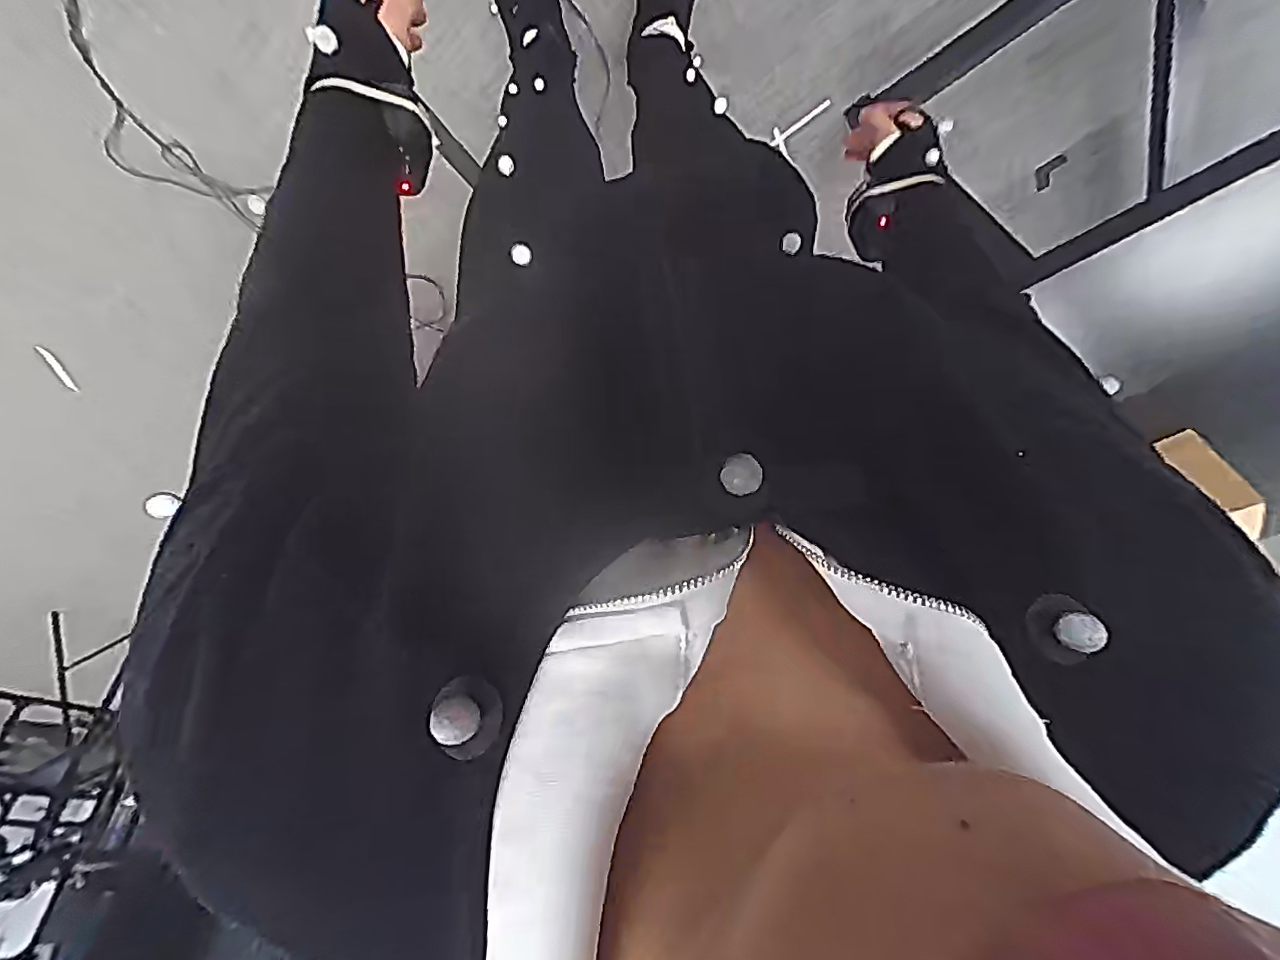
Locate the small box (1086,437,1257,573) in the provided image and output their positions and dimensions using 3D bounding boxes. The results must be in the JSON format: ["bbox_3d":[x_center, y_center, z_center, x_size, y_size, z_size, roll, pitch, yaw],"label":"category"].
[{"bbox_3d":[0.980,0.043,1.012,0.168,0.176,0.179,-31,134,26],"label":"small box"}]
